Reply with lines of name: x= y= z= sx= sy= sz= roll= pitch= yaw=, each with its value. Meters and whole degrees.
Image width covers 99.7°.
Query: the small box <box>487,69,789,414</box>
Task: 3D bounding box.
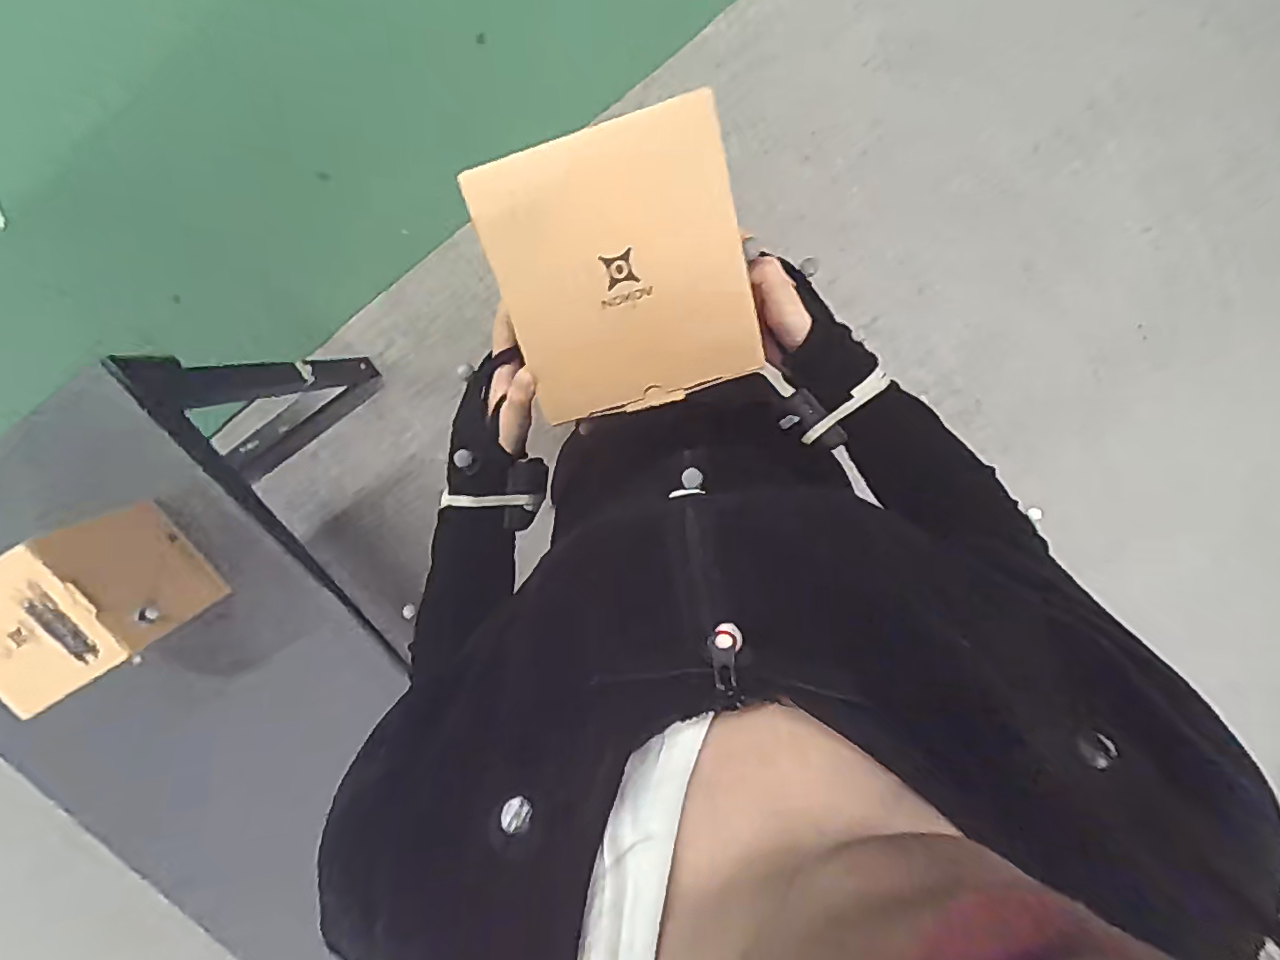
small box: x=0.004 y=-0.173 z=0.422 sx=0.168 sy=0.176 sz=0.179 roll=-14 pitch=113 yaw=6
